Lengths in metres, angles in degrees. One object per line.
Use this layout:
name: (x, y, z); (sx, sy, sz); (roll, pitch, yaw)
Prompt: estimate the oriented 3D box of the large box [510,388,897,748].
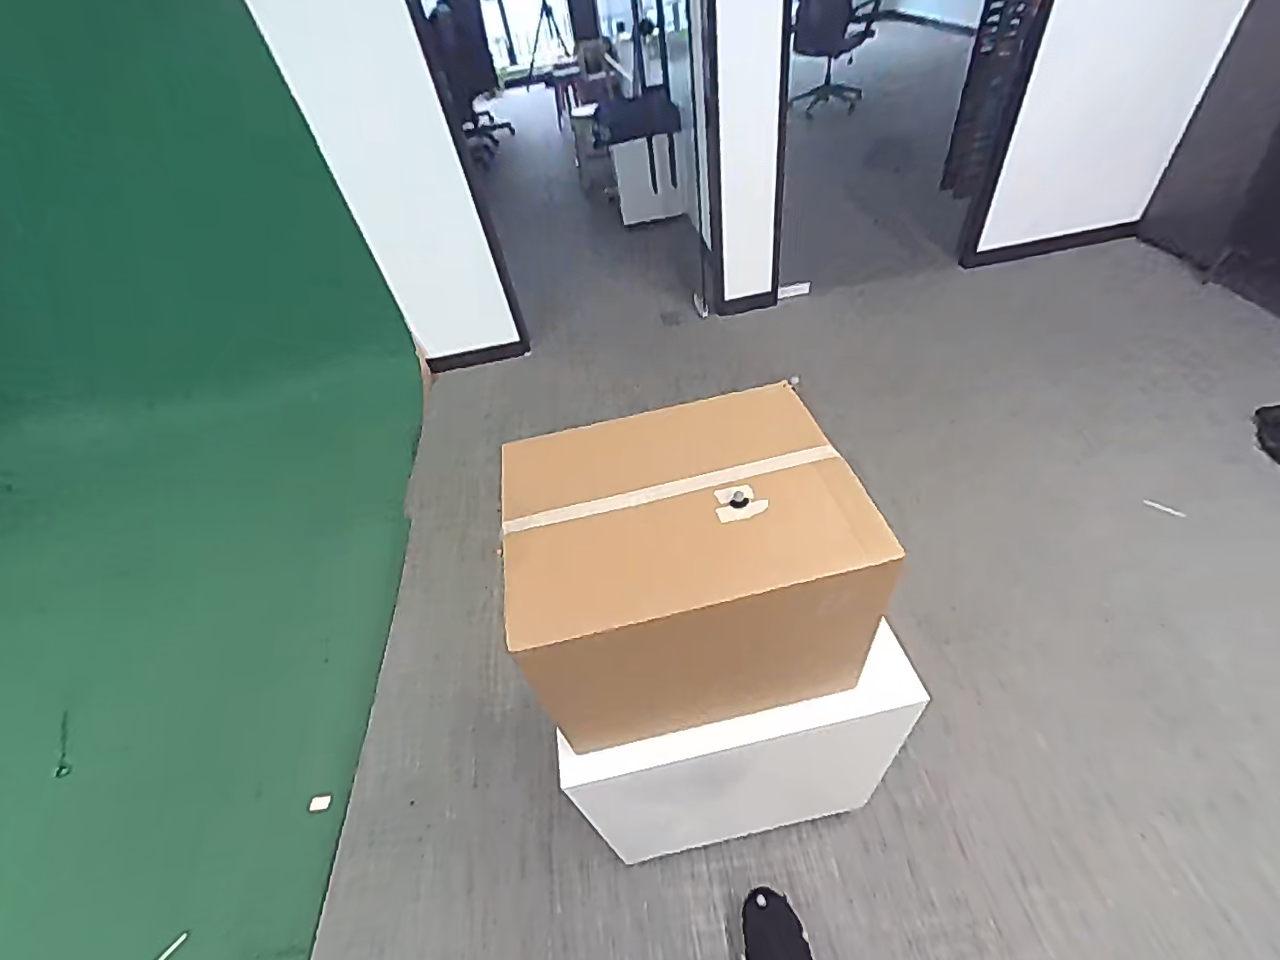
large box: (0.060, 0.120, 0.751); (0.408, 0.320, 0.320); (-12, 46, -3)
